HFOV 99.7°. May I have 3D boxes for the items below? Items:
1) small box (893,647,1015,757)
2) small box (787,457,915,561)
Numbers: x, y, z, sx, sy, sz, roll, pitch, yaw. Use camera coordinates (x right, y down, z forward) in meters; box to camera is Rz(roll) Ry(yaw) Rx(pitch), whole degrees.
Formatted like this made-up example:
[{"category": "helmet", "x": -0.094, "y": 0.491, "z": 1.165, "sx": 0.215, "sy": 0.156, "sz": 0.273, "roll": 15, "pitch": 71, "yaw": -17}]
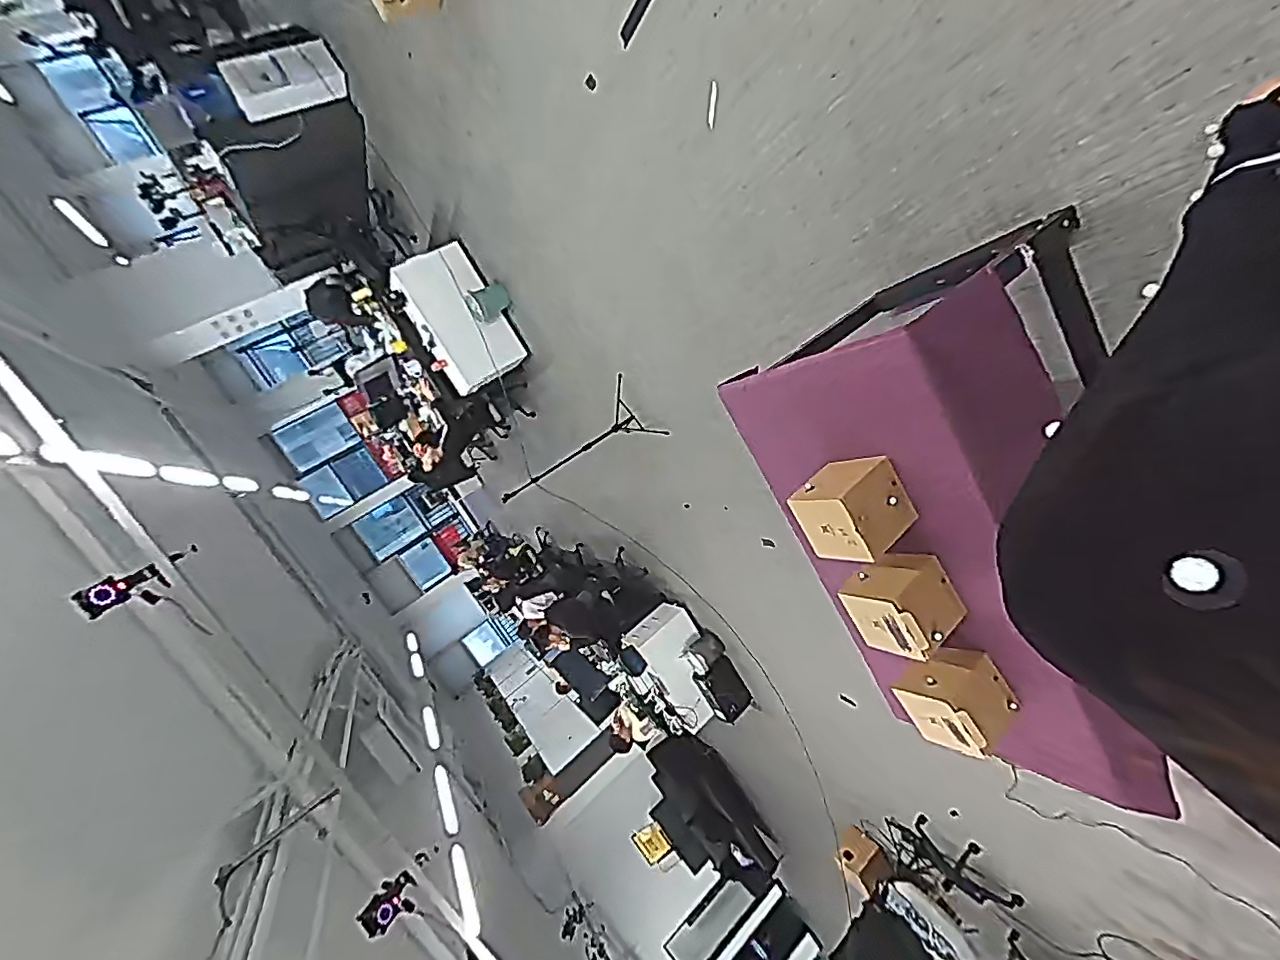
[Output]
[{"category": "small box", "x": 0.770, "y": 0.528, "z": 1.318, "sx": 0.168, "sy": 0.176, "sz": 0.179, "roll": 55, "pitch": 158, "yaw": -3}, {"category": "small box", "x": 0.476, "y": 0.063, "z": 1.225, "sx": 0.168, "sy": 0.176, "sz": 0.179, "roll": 58, "pitch": 157, "yaw": -11}]
